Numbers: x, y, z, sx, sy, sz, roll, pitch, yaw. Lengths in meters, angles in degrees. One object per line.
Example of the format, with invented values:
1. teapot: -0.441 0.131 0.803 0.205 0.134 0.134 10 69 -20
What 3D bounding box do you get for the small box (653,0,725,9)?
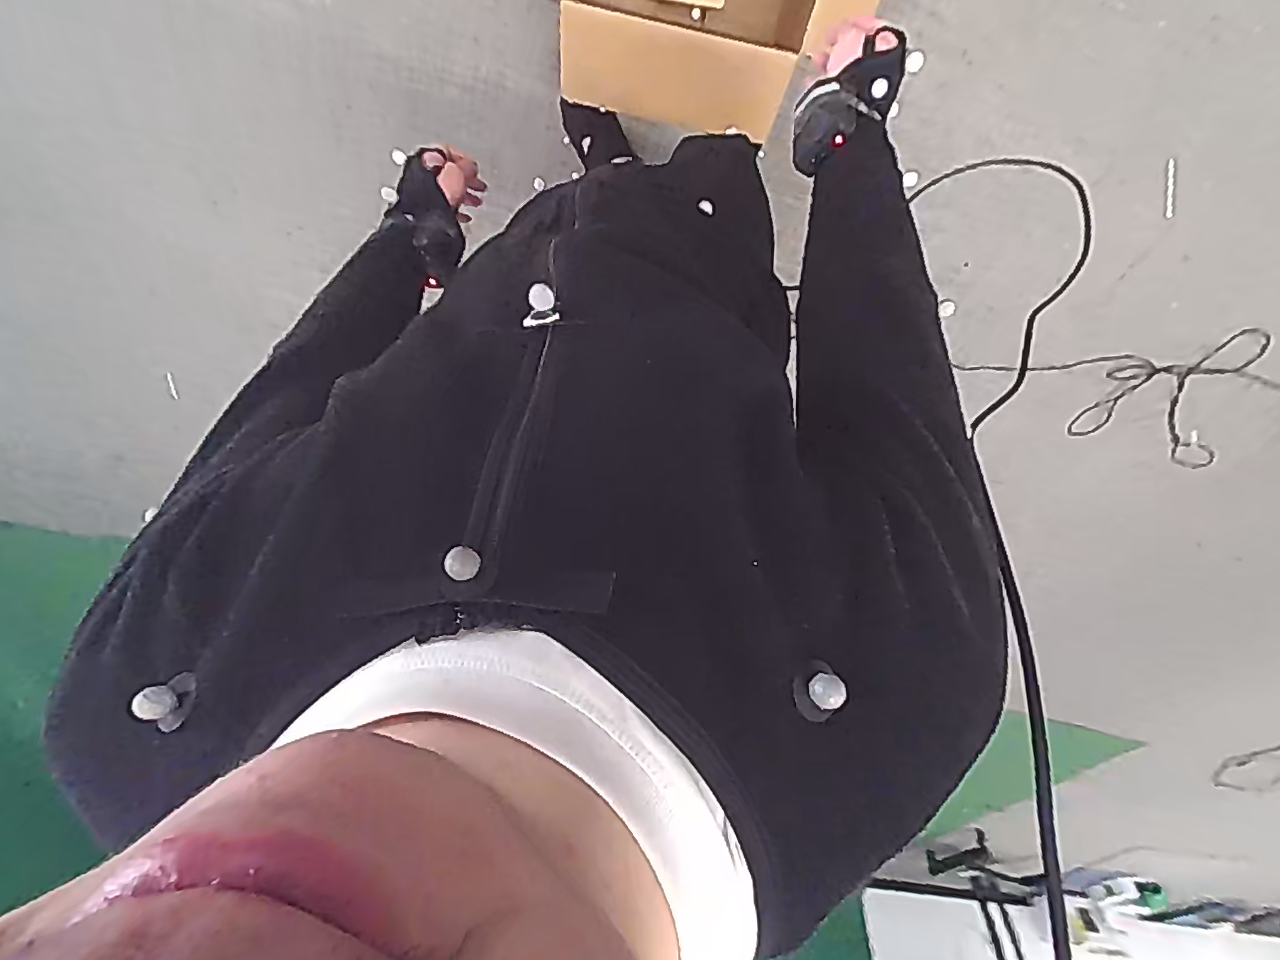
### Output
1. small box: 0.059 -0.836 0.822 0.179 0.176 0.168 10 129 2
